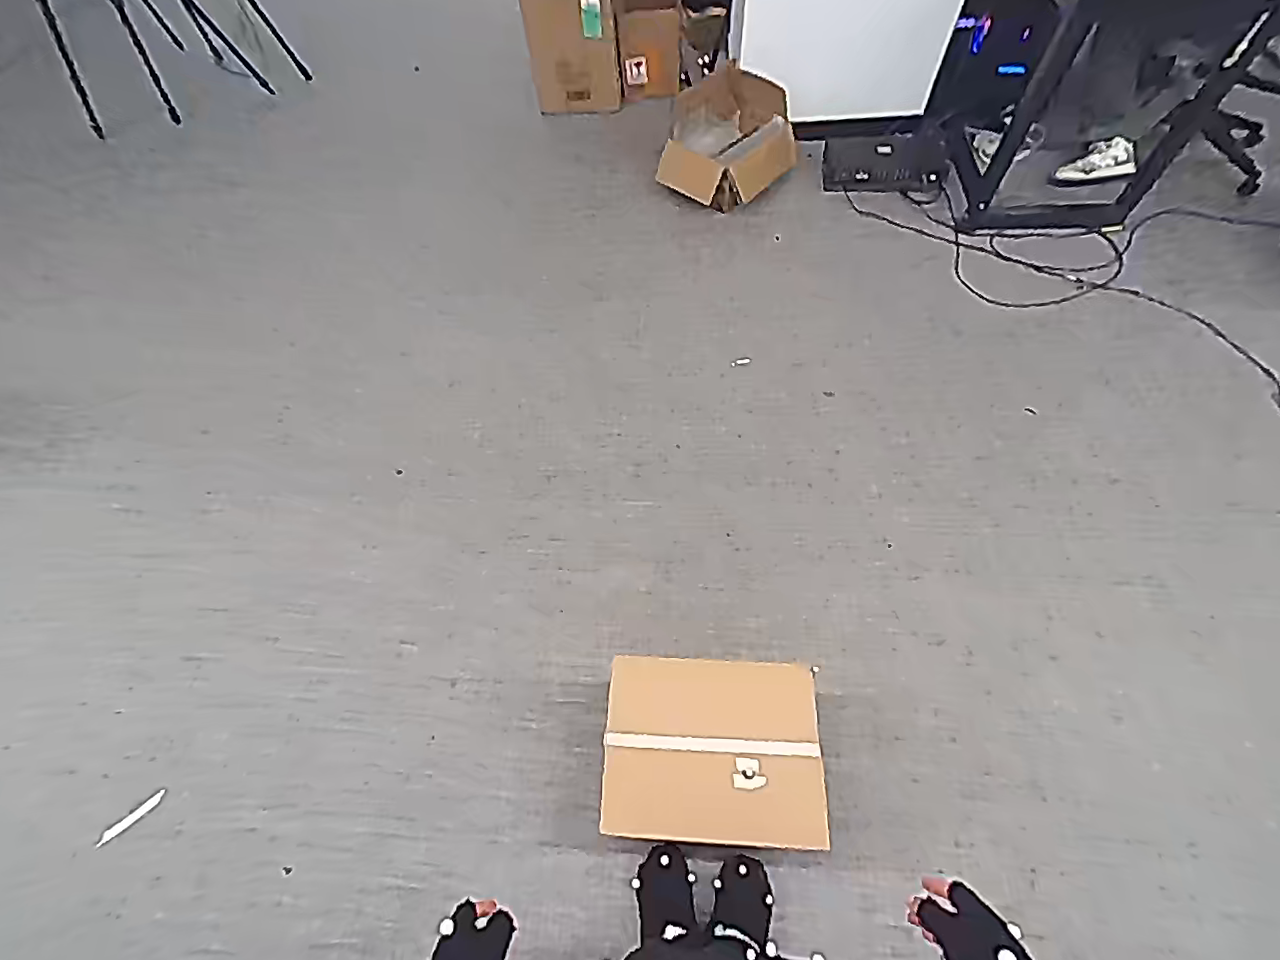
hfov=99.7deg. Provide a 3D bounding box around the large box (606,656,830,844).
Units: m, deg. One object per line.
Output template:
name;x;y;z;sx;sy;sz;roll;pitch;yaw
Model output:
large box;0.146;0.572;1.153;0.408;0.320;0.320;1;61;4
